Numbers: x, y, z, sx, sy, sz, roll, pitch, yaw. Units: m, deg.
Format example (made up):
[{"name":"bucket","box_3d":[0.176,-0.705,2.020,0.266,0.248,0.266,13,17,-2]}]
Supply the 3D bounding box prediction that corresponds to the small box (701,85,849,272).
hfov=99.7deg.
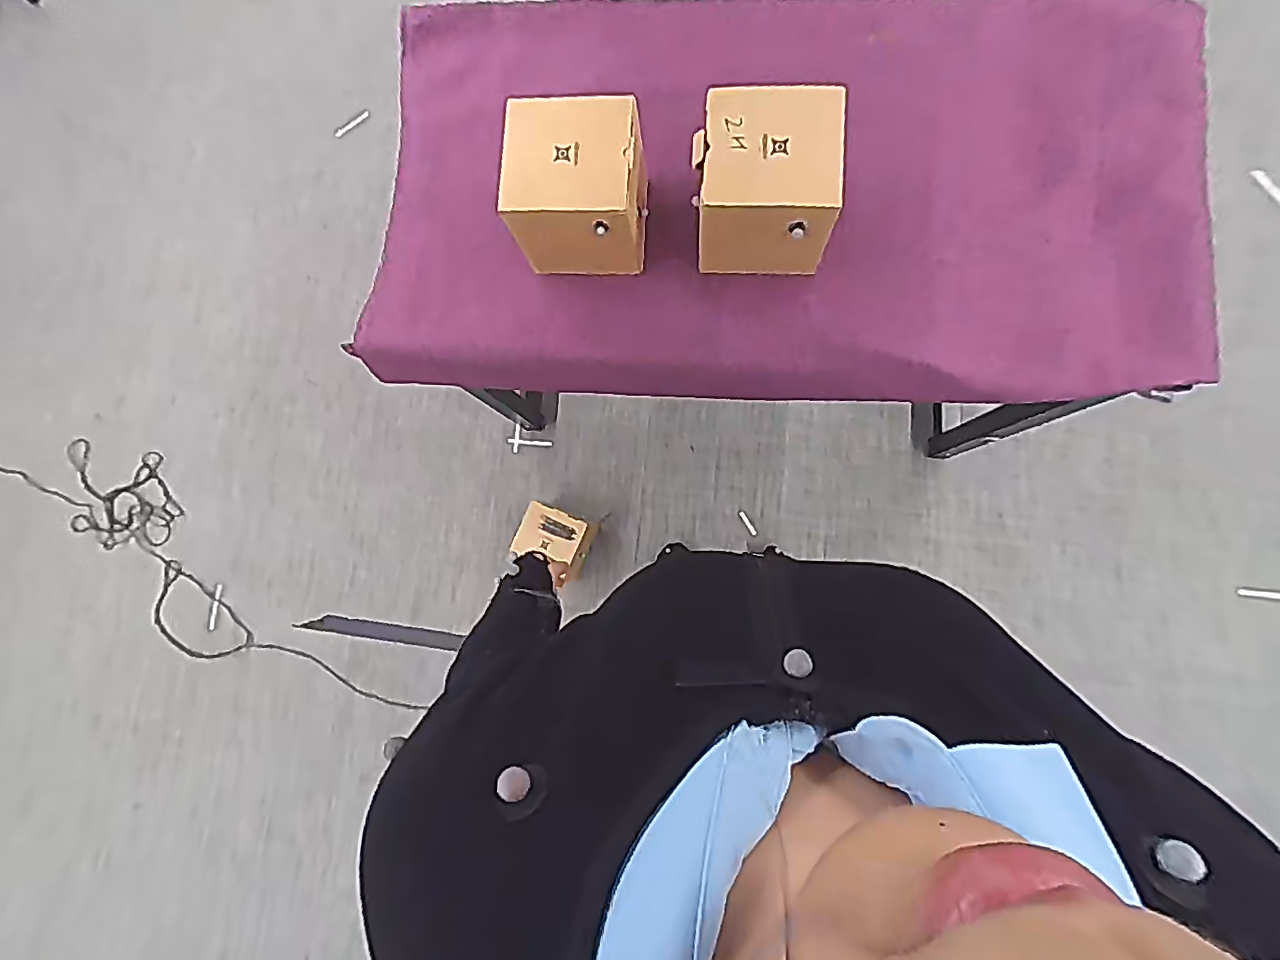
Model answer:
[{"name":"small box","box_3d":[0.179,-0.408,0.756,0.179,0.176,0.168,3,83,7]}]

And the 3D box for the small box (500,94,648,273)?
[{"name":"small box","box_3d":[-0.086,-0.419,0.789,0.179,0.176,0.168,2,83,6]}]
